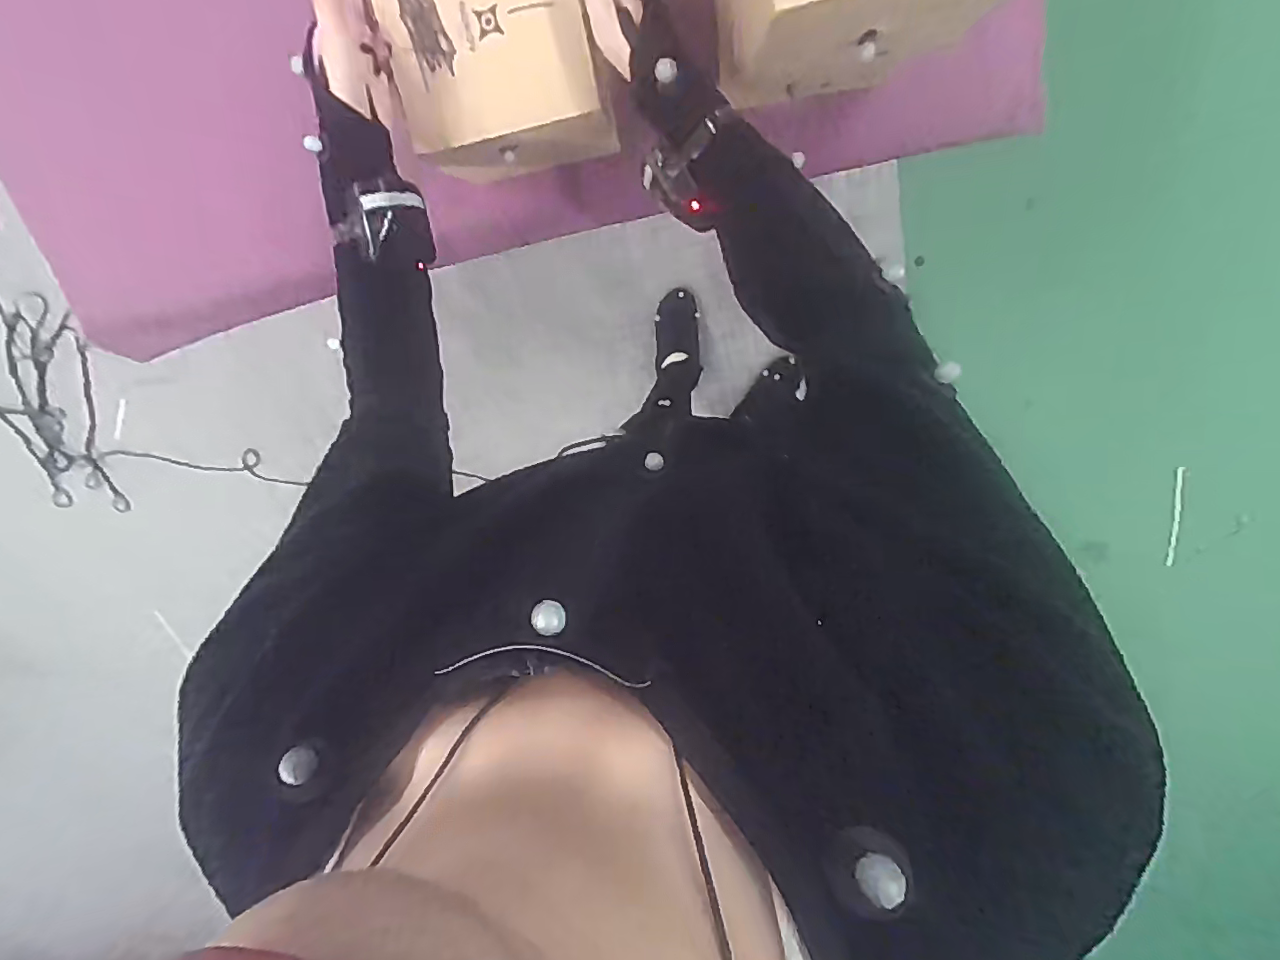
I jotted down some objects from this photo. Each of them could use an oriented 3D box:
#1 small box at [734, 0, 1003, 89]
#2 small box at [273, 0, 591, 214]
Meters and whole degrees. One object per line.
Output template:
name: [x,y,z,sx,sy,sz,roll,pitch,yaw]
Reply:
small box: [0.148,-0.376,0.340,0.168,0.176,0.179,-9,111,7]
small box: [-0.184,-0.391,0.489,0.168,0.176,0.179,45,106,23]
